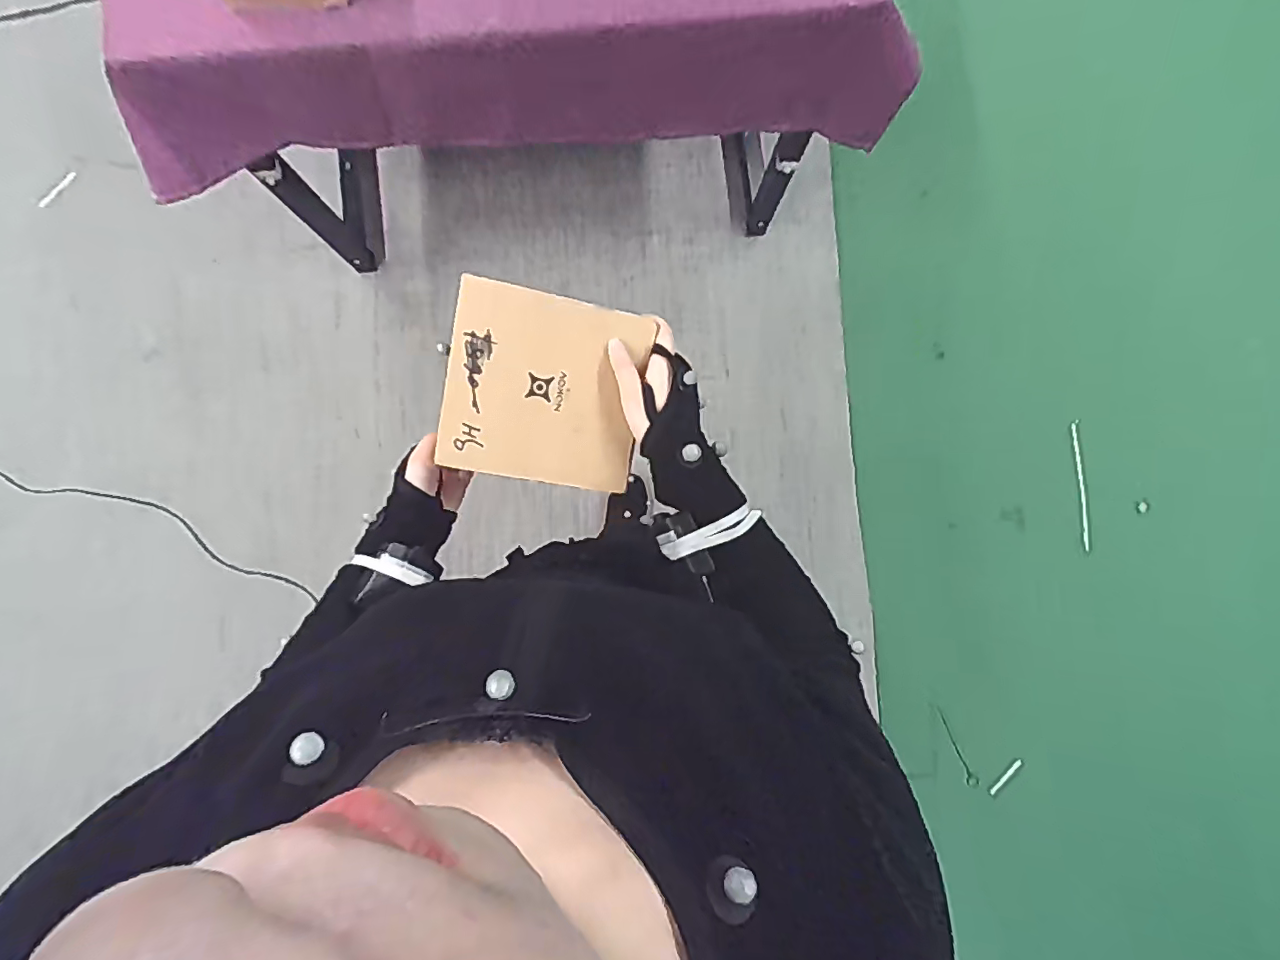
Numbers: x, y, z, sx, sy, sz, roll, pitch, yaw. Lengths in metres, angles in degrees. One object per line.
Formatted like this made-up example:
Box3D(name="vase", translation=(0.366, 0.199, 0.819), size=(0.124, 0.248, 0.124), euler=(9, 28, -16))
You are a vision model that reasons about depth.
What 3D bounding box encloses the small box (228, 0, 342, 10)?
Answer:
Box3D(name="small box", translation=(-0.534, -0.798, 0.746), size=(0.179, 0.176, 0.168), euler=(-3, 86, -3))
